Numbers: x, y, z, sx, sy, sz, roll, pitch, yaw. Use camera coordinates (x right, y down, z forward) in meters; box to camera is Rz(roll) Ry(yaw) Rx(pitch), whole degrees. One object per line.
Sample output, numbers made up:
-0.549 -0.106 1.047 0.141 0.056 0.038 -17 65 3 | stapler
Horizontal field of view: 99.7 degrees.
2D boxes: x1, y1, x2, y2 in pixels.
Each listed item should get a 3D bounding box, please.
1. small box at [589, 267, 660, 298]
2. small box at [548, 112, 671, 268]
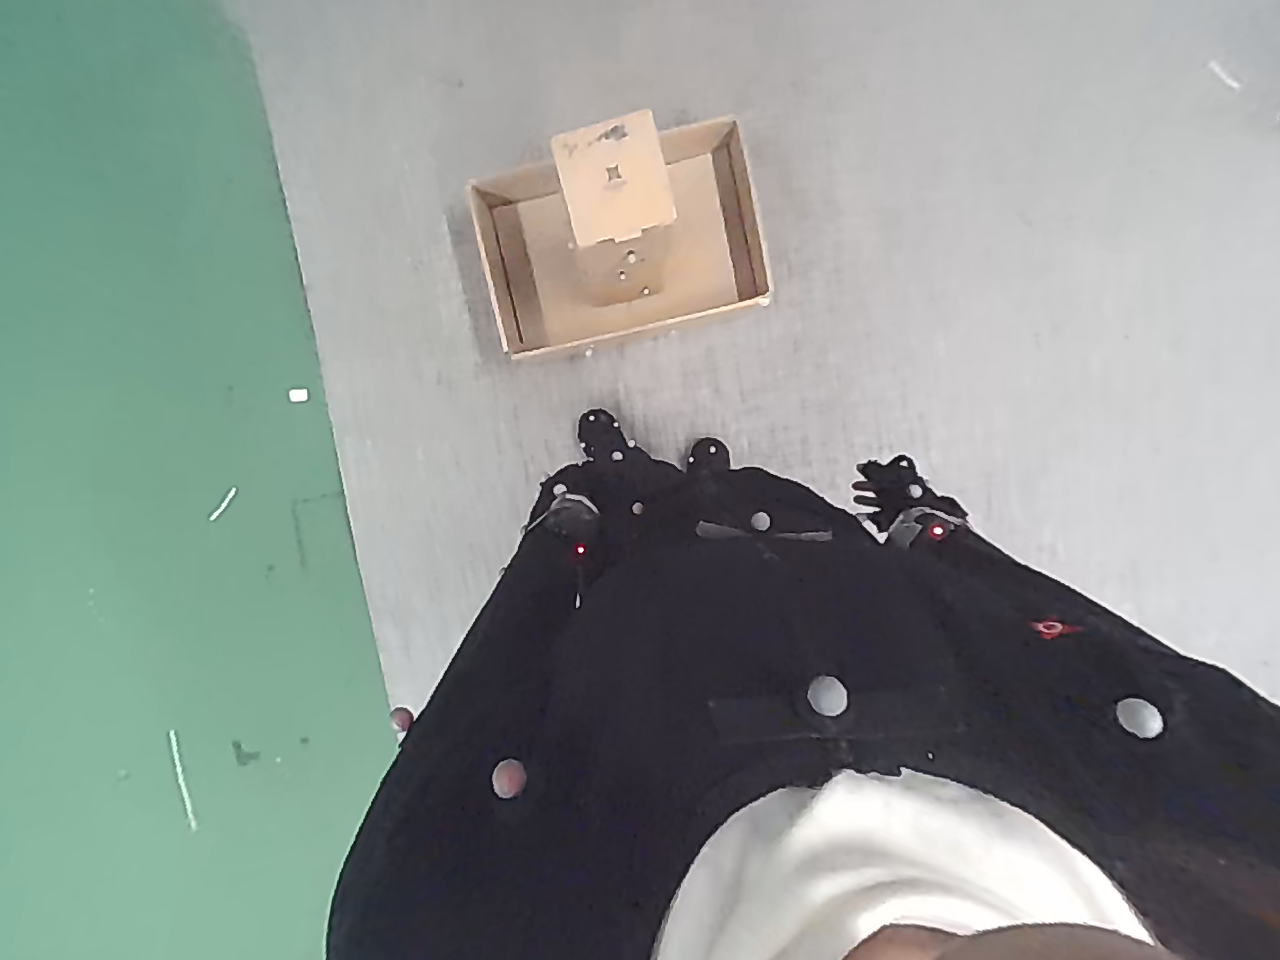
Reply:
-0.047 -0.534 1.252 0.168 0.176 0.179 -12 95 2 | small box
-0.043 -0.489 0.947 0.168 0.176 0.179 -16 95 4 | small box
